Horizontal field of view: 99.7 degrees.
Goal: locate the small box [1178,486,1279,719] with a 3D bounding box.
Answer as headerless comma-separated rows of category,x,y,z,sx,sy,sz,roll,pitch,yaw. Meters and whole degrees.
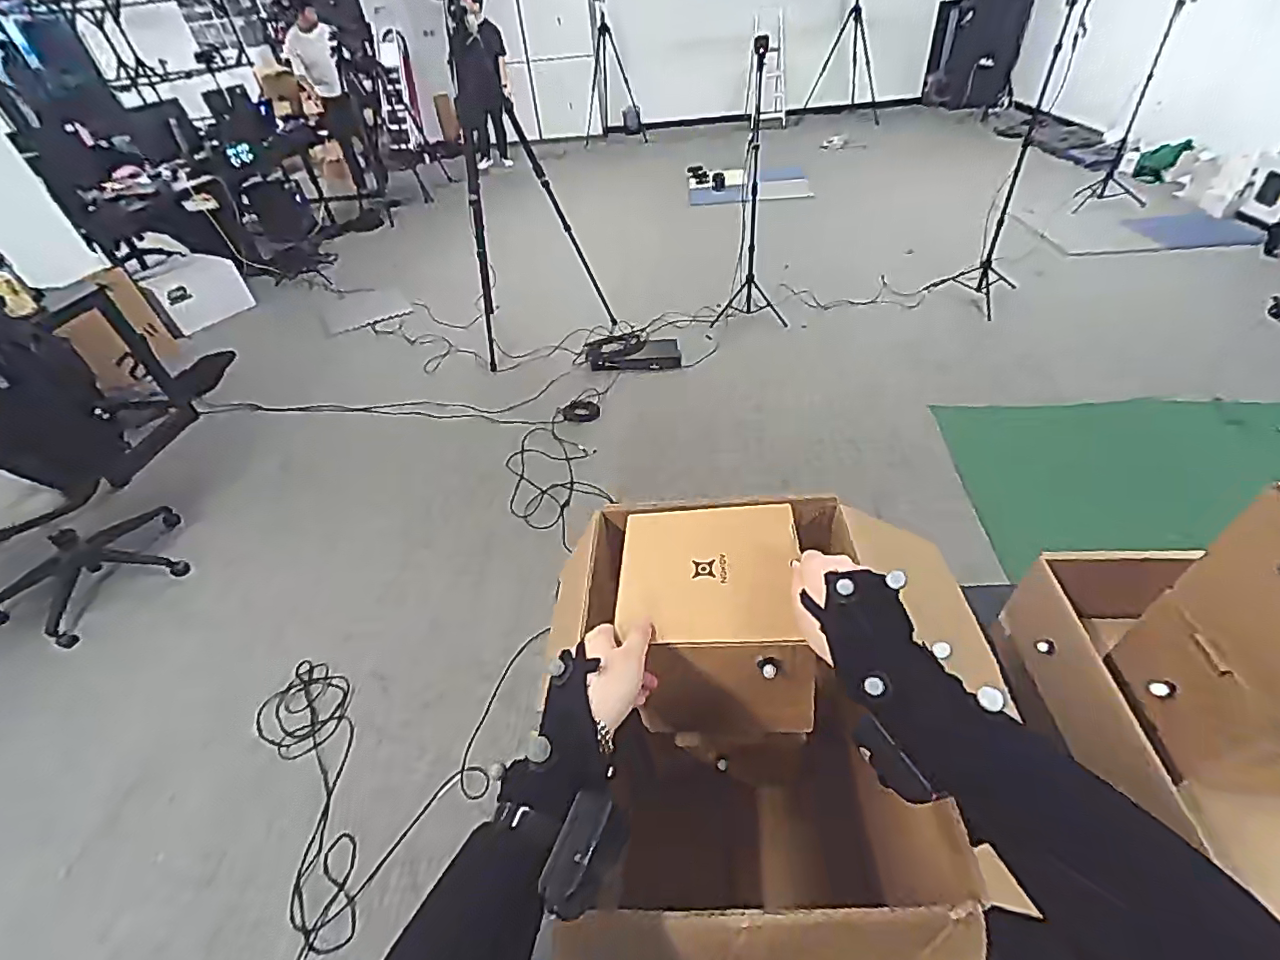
small box,0.690,0.124,0.514,0.168,0.176,0.179,-1,44,7

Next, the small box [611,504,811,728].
small box,0.079,0.146,0.572,0.179,0.176,0.168,-4,41,9
